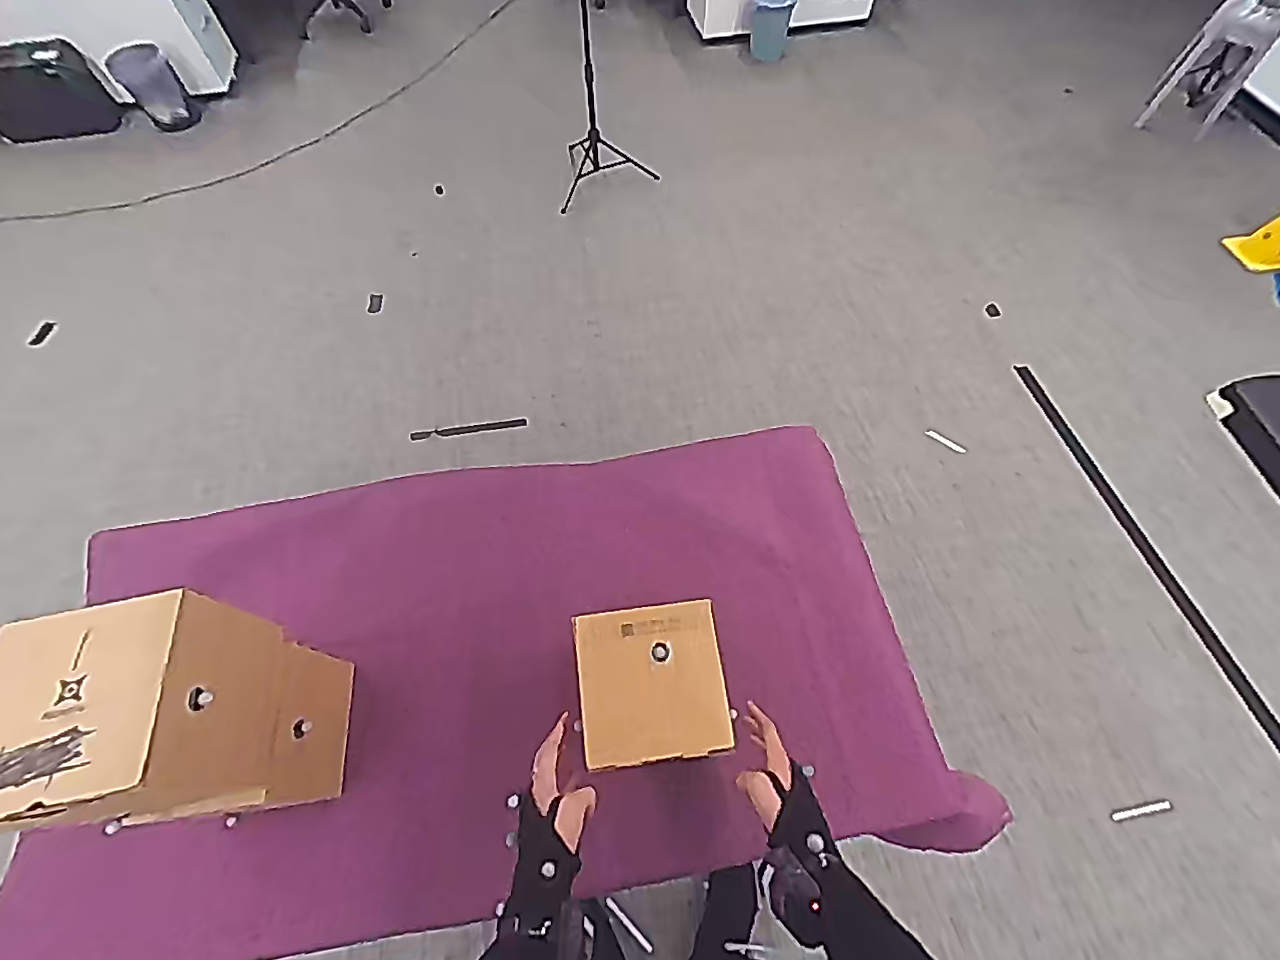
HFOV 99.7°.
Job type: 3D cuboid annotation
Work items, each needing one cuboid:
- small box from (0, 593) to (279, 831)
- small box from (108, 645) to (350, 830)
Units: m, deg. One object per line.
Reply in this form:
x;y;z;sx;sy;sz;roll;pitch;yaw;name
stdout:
-0.501;0.235;0.547;0.168;0.176;0.179;-11;61;-6;small box
-0.494;0.323;0.686;0.168;0.176;0.179;-7;61;-4;small box
